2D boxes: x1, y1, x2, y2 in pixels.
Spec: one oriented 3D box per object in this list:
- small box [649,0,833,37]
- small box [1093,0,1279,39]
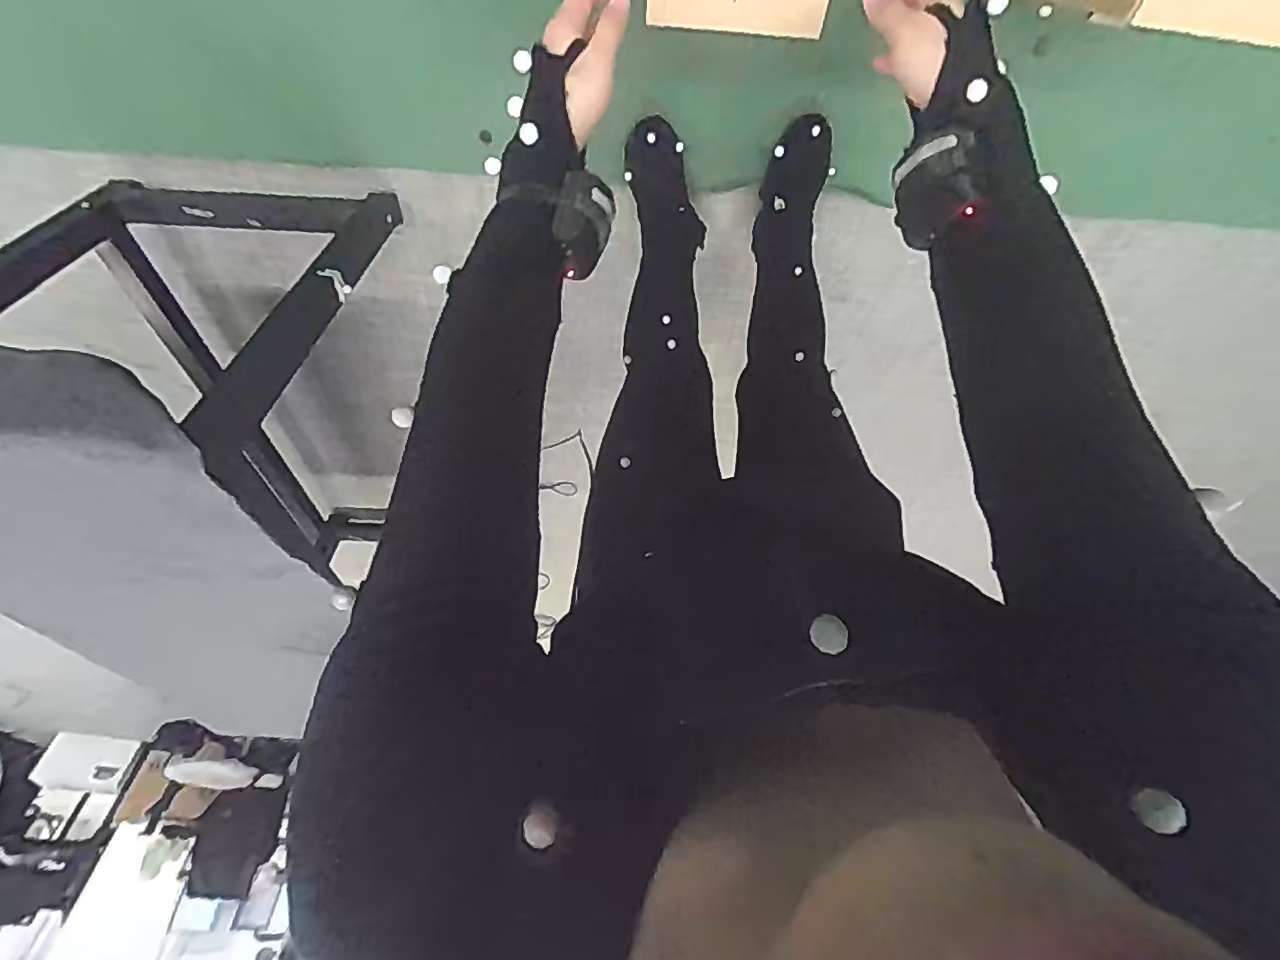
[{"bbox_3d":[0.095,-0.530,0.481,0.168,0.176,0.179,3,140,-2],"label":"small box"},{"bbox_3d":[0.534,-0.518,0.477,0.179,0.176,0.168,6,139,-3],"label":"small box"}]
